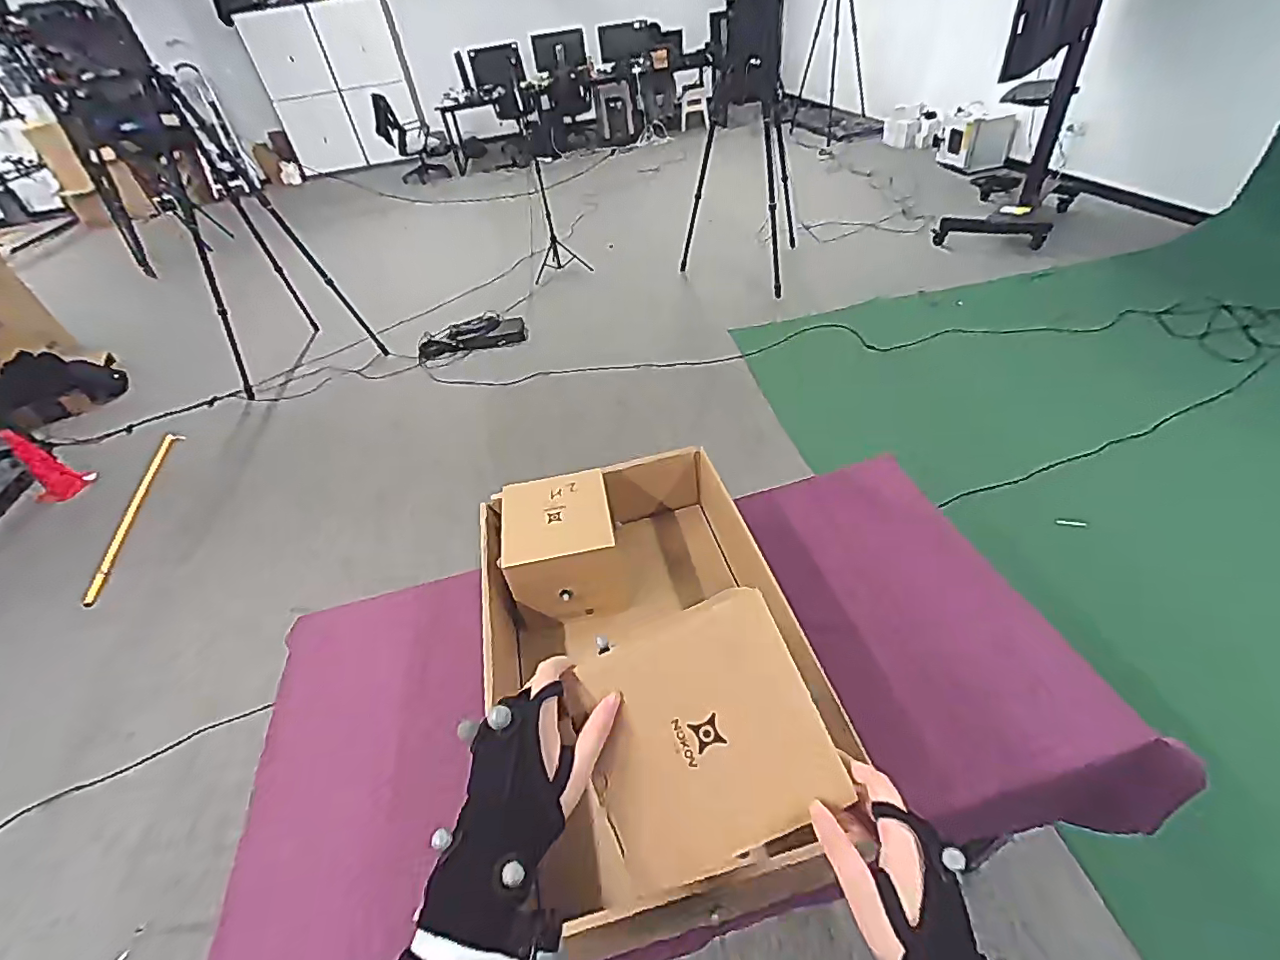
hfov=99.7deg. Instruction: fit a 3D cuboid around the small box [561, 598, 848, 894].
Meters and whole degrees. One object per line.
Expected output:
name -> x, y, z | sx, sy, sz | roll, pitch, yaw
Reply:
small box -> 0.053, 0.215, 0.493 | 0.179, 0.176, 0.168 | -25, 76, 1
